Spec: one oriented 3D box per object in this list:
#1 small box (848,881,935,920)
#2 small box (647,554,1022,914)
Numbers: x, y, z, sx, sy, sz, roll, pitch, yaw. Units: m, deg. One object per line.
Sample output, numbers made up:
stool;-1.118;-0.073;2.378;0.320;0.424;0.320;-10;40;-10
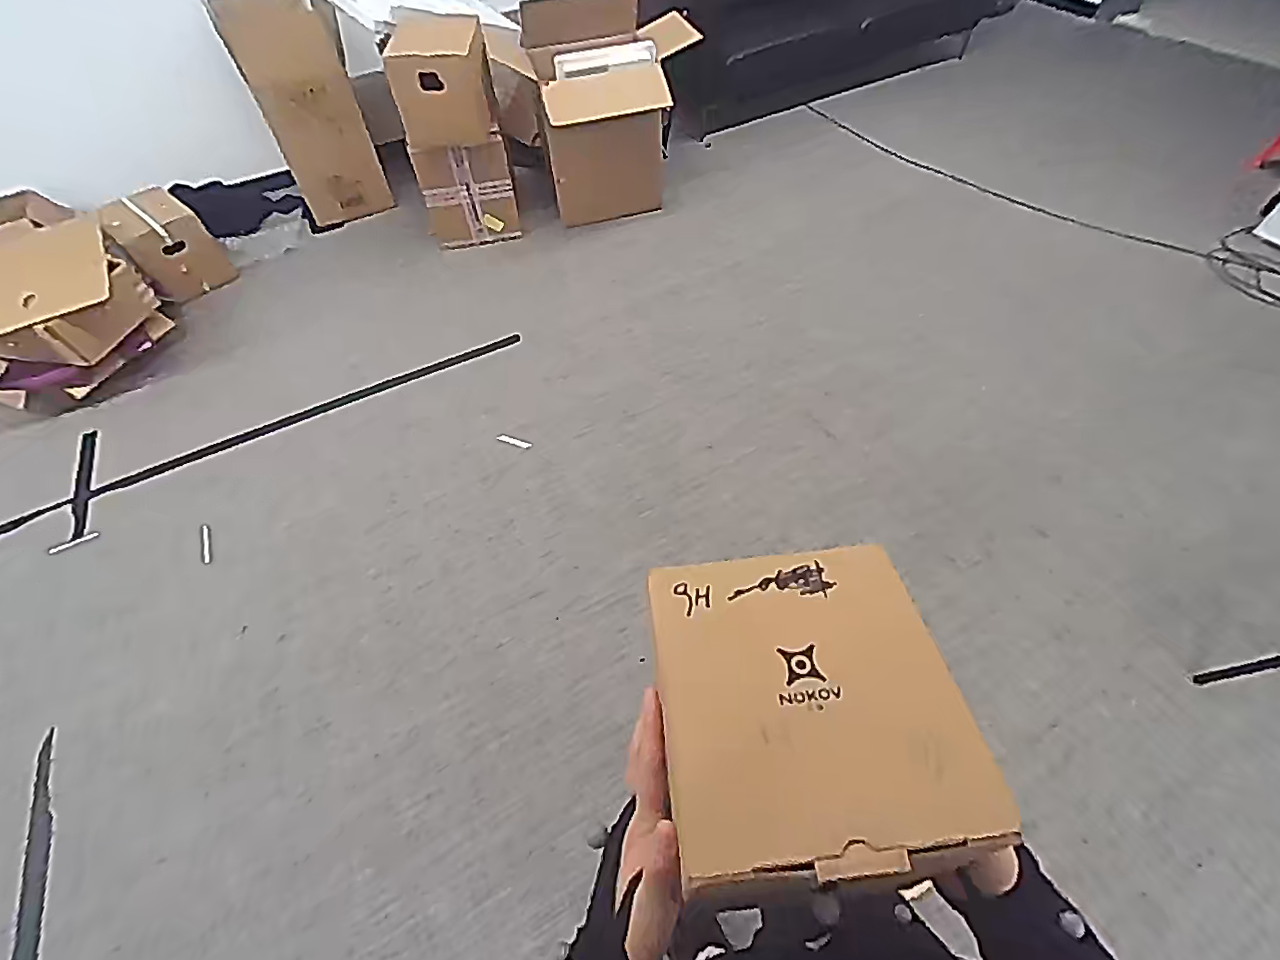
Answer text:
small box;0.427;0.666;1.000;0.168;0.176;0.179;-27;57;-14
small box;0.097;0.175;0.367;0.168;0.176;0.179;-5;48;-3
